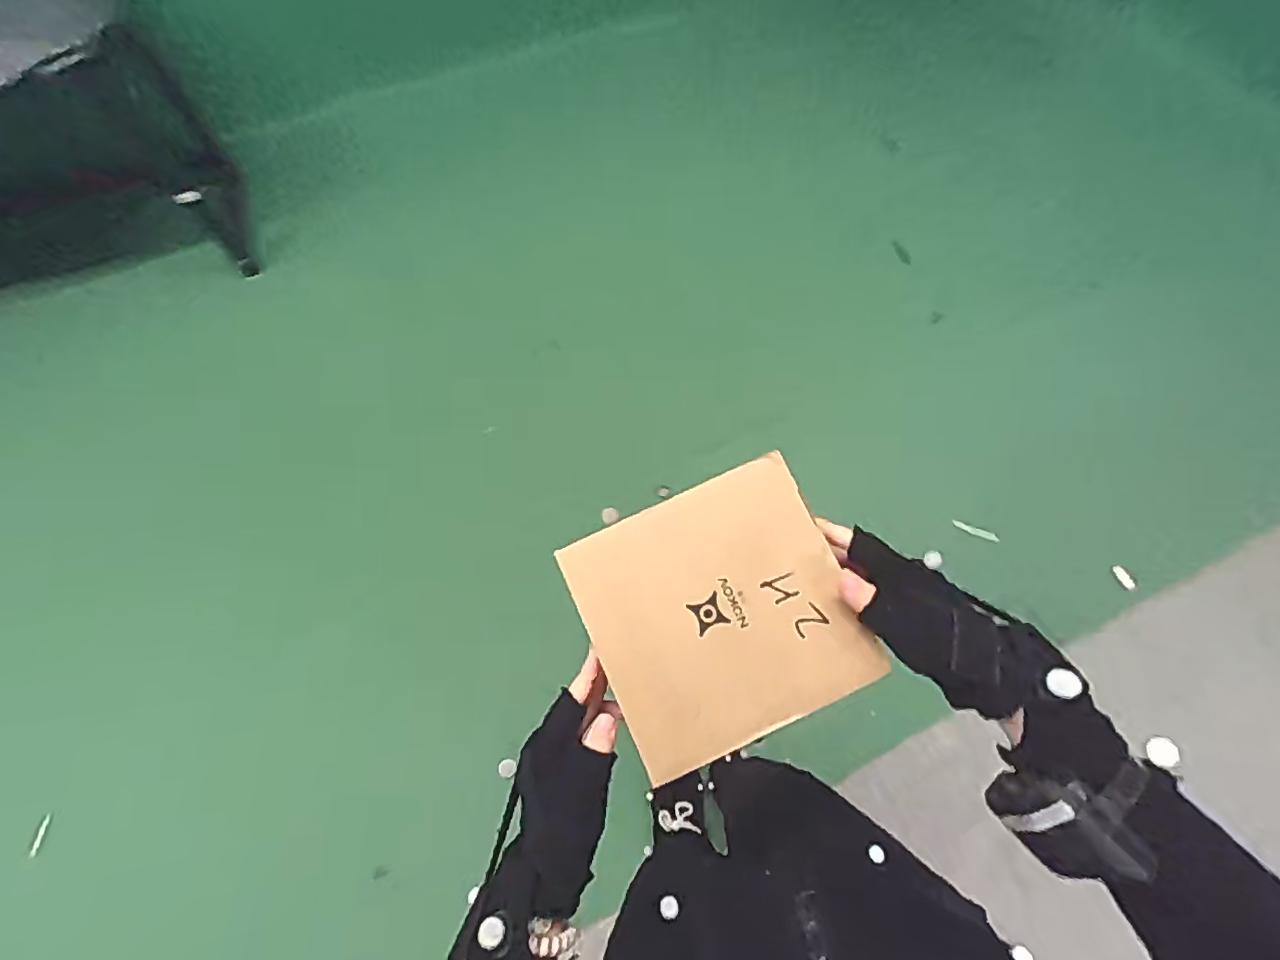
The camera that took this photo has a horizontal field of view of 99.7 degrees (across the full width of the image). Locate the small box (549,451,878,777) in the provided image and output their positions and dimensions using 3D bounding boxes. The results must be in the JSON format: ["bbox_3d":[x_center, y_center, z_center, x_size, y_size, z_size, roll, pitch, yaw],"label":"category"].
[{"bbox_3d":[0.048,0.100,0.442,0.179,0.176,0.168,-24,81,-4],"label":"small box"}]
